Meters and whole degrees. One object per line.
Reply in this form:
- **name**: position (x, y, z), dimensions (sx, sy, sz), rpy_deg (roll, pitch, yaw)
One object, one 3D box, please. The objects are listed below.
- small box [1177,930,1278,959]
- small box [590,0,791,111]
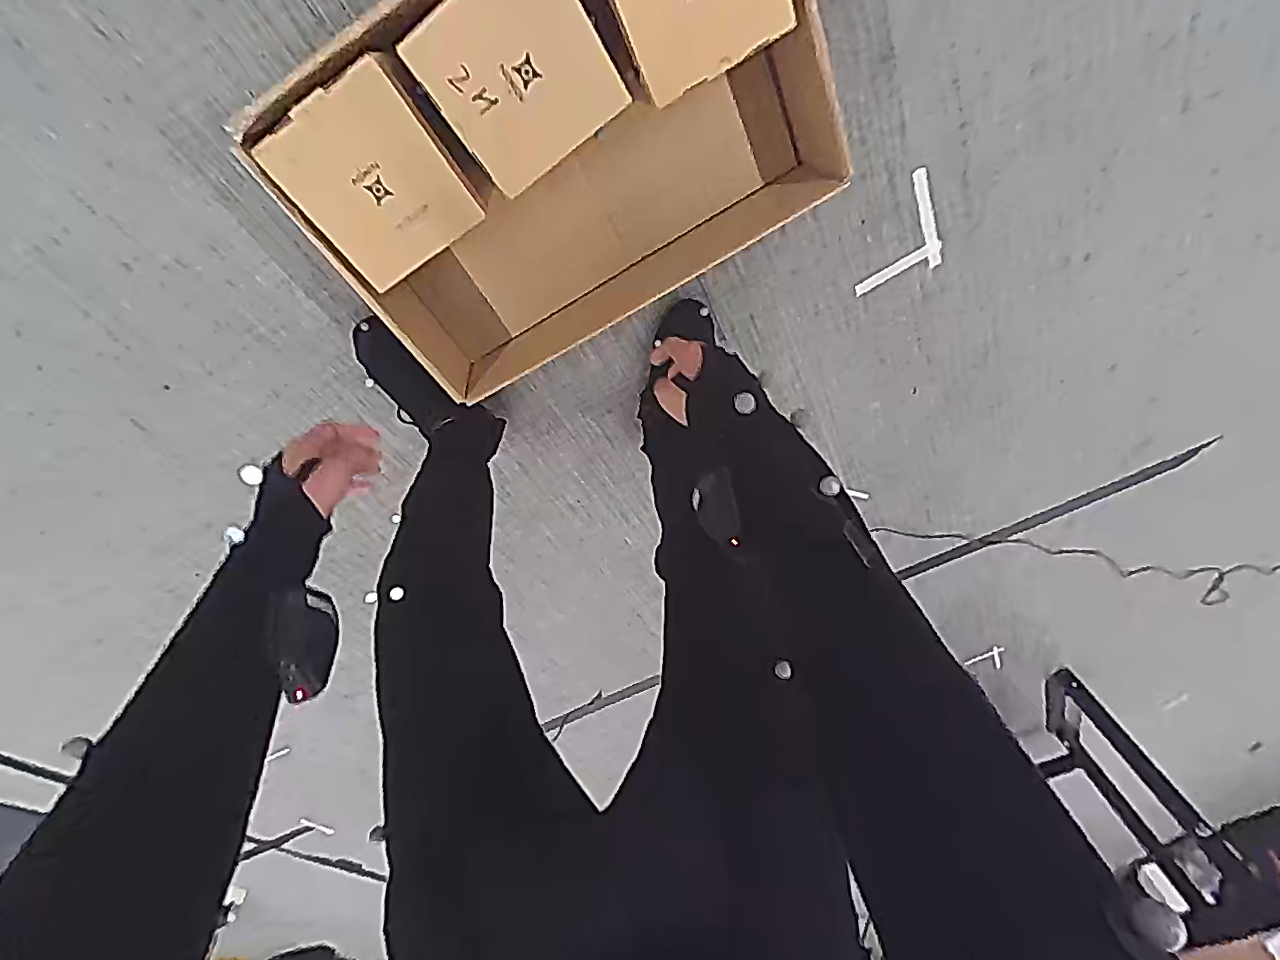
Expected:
- **small box**: position (1.564, 1.302, 1.397), dimensions (0.179, 0.176, 0.168), rpy_deg (-27, 126, 9)
- **small box**: position (0.037, -0.541, 0.585), dimensions (0.168, 0.176, 0.179), rpy_deg (-27, 130, 11)
